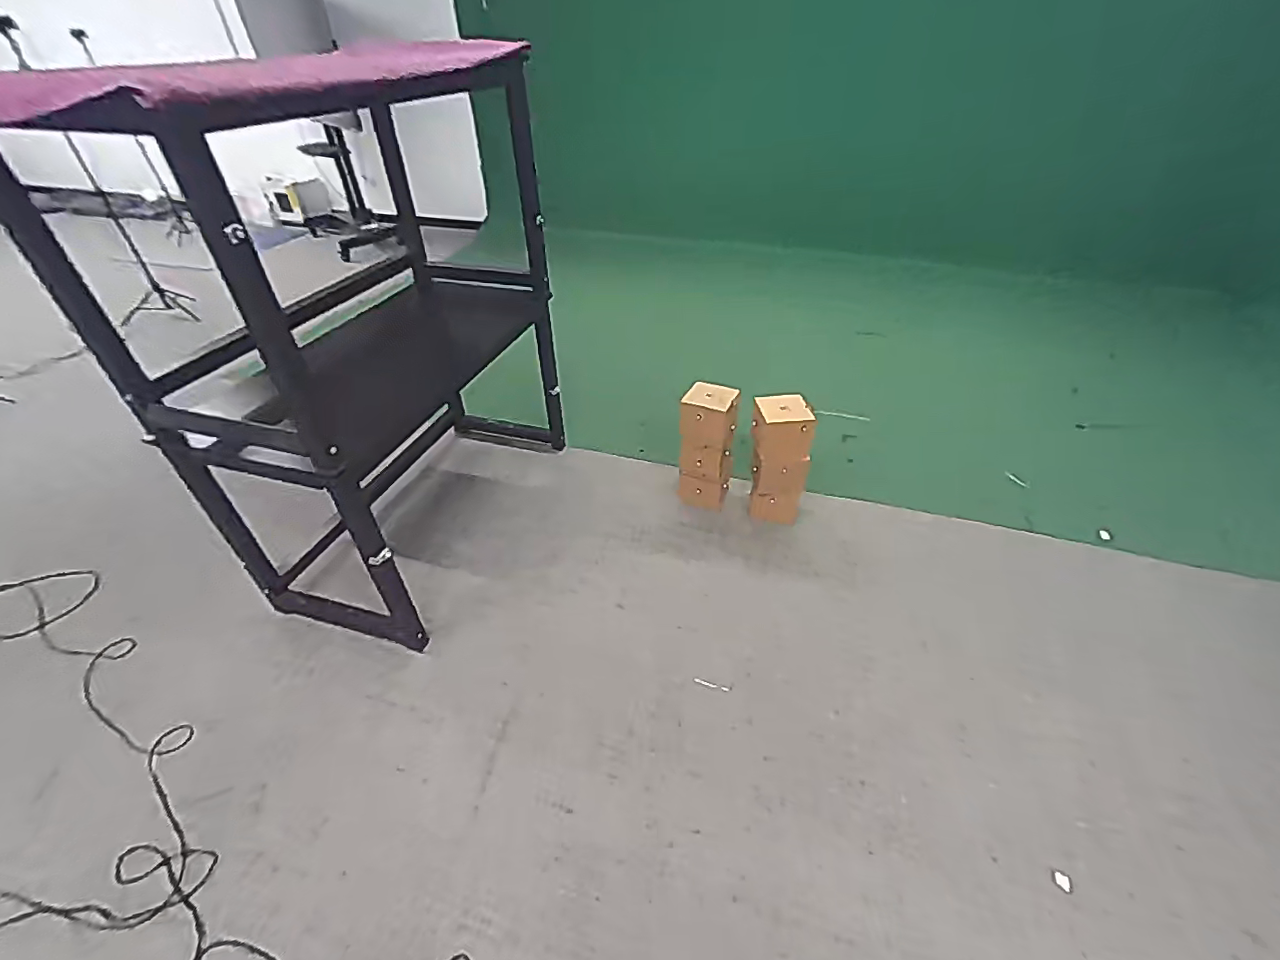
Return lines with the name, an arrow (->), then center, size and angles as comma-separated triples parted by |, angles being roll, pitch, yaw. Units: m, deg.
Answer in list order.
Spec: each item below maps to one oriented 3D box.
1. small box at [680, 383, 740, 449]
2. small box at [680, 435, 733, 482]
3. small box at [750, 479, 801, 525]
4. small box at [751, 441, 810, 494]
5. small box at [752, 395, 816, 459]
small box -> 0.257, -0.237, 2.007 | 0.179, 0.176, 0.168 | 17, 43, 21
small box -> 0.263, -0.116, 2.122 | 0.168, 0.176, 0.179 | 15, 43, 19
small box -> 0.538, 0.061, 2.158 | 0.179, 0.176, 0.168 | 7, 41, 8
small box -> 0.525, -0.058, 2.049 | 0.179, 0.176, 0.168 | -2, 42, -2
small box -> 0.509, -0.188, 1.950 | 0.179, 0.176, 0.168 | -5, 41, -5
